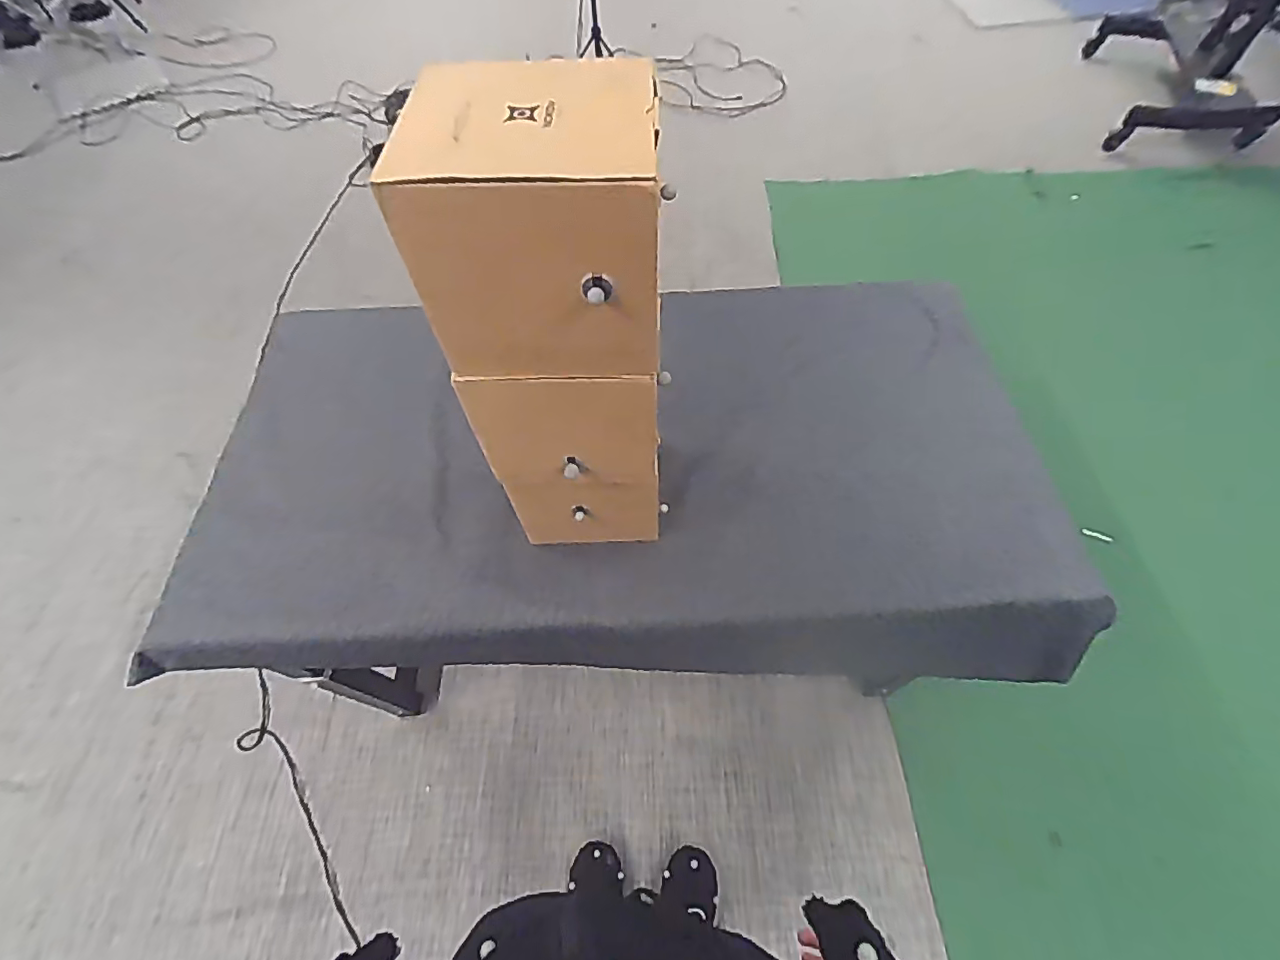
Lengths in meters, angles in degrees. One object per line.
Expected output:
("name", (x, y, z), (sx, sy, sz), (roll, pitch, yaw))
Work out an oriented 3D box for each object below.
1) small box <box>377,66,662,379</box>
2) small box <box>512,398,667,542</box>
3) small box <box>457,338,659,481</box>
("small box", (-0.073, -0.197, 0.437), (0.179, 0.176, 0.168), (-2, 57, 2))
("small box", (-0.063, -0.029, 0.715), (0.179, 0.176, 0.168), (-4, 59, -2))
("small box", (-0.071, -0.110, 0.574), (0.179, 0.176, 0.168), (-1, 58, 1))
